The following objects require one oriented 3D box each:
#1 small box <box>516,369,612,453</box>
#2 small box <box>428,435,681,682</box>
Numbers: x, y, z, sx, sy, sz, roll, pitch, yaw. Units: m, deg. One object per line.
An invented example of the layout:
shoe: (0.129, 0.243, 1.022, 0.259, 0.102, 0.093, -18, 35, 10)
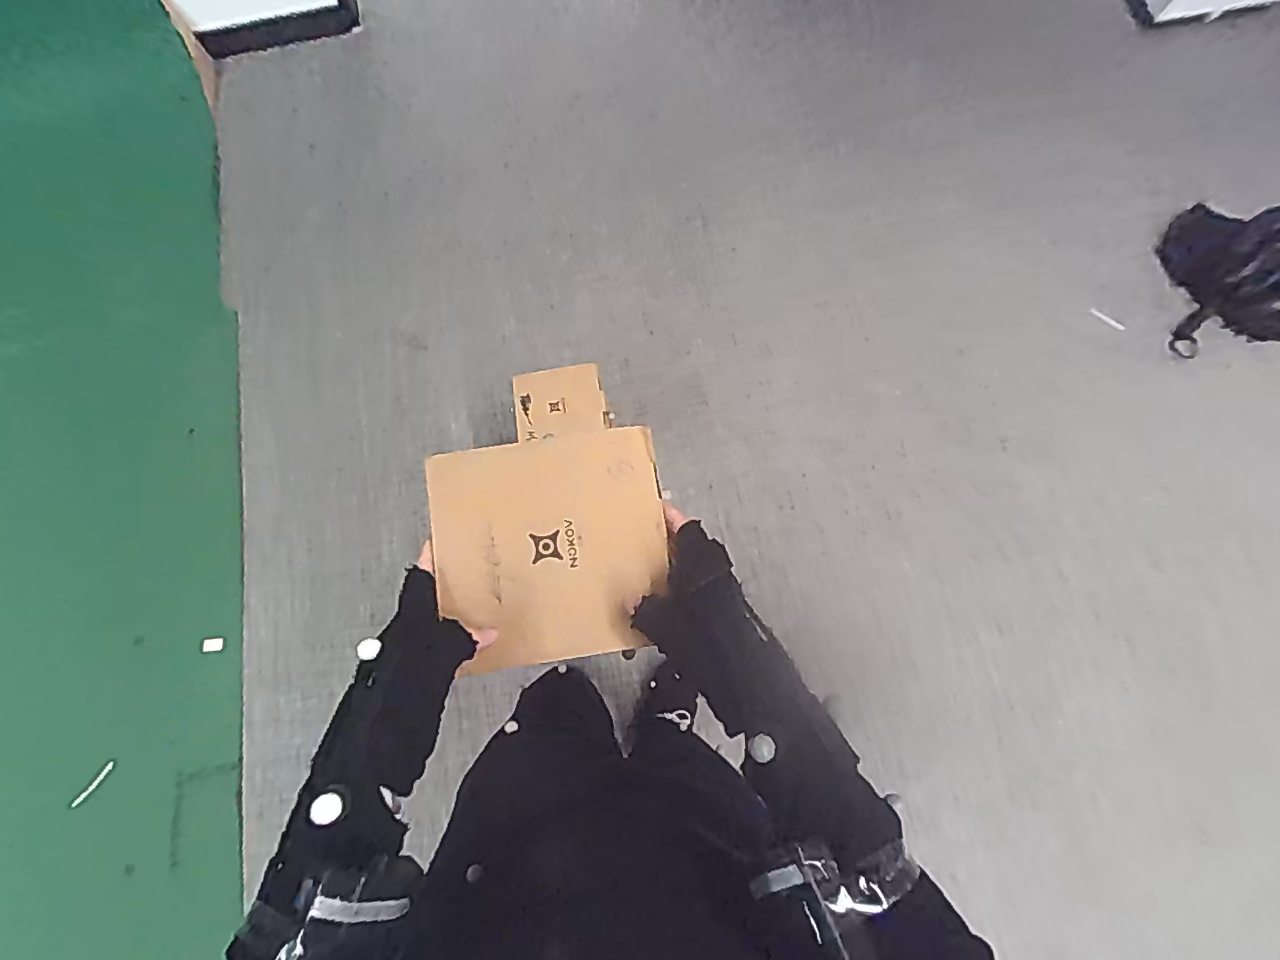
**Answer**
small box: (-0.152, -0.117, 1.147, 0.179, 0.176, 0.168, -8, 77, 0)
small box: (-0.067, 0.069, 0.488, 0.179, 0.176, 0.168, -10, 79, -1)
